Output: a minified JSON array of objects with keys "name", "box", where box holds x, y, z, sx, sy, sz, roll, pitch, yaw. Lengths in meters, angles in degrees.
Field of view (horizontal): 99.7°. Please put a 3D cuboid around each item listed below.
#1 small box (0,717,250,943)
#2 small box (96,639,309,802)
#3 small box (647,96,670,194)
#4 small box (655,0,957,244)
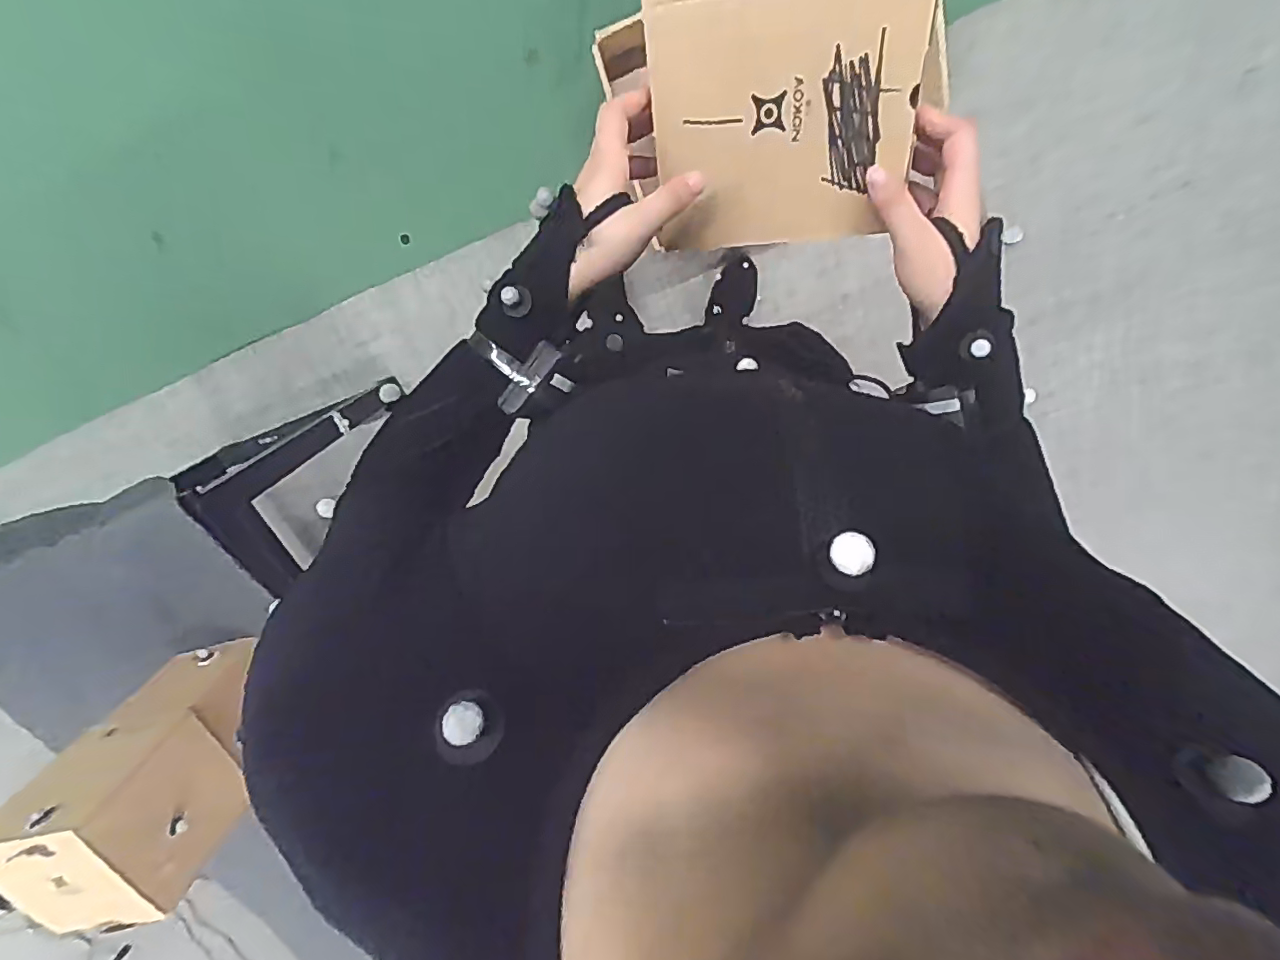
[{"name":"small box","box":[-0.651,0.434,0.681,0.168,0.176,0.179,-13,115,6]},{"name":"small box","box":[-0.662,0.379,0.836,0.168,0.176,0.179,-16,113,7]},{"name":"small box","box":[0.120,-0.686,1.086,0.179,0.176,0.168,-19,115,7]},{"name":"small box","box":[0.112,-0.294,0.408,0.179,0.176,0.168,0,130,11]}]
